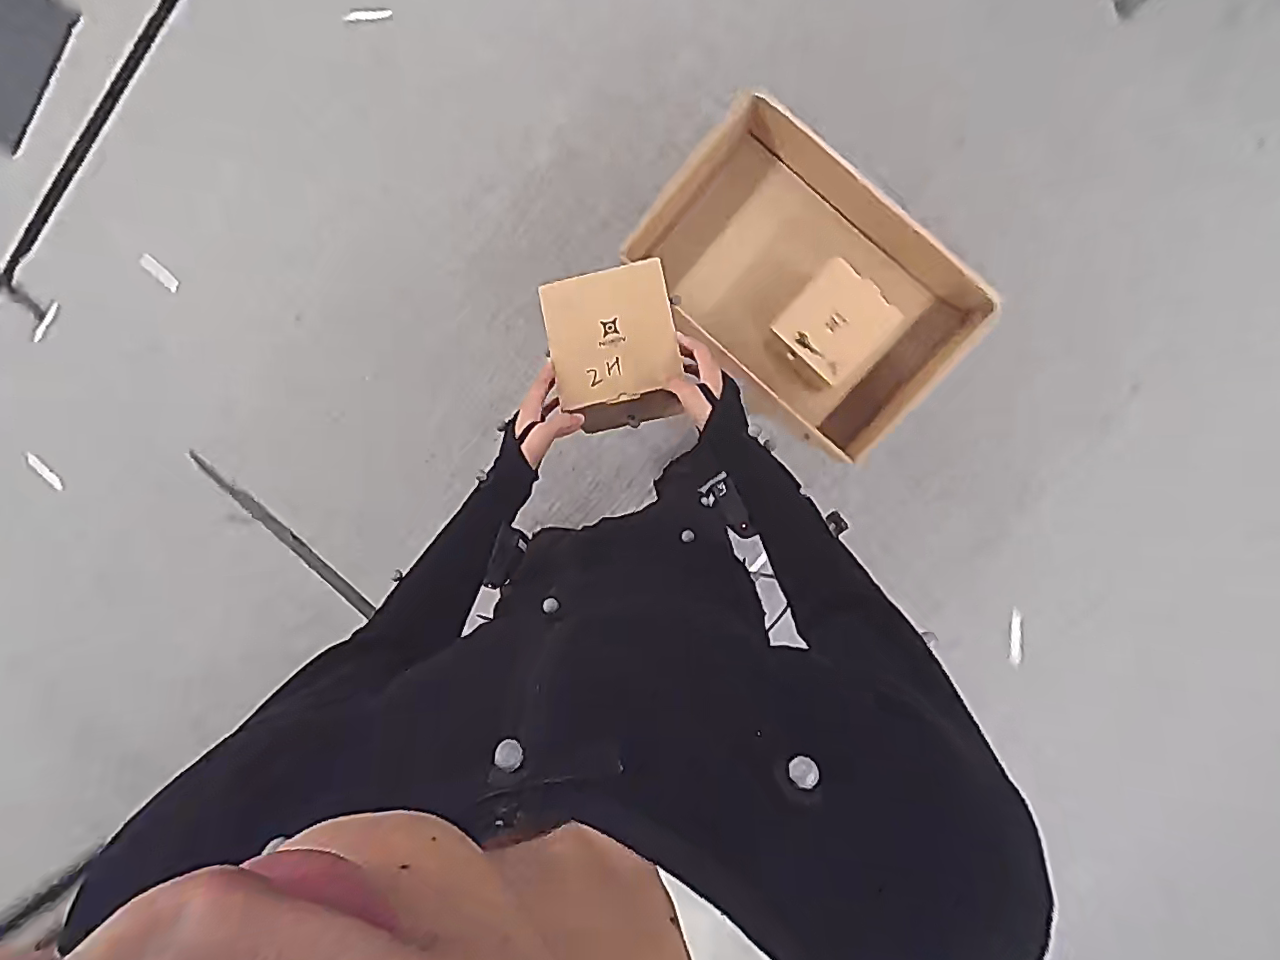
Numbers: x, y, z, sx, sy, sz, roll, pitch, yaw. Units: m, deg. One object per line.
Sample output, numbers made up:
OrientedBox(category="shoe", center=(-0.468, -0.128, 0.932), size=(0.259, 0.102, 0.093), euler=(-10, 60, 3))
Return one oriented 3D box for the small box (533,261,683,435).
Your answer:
OrientedBox(category="small box", center=(-0.037, -0.175, 0.769), size=(0.168, 0.176, 0.179), euler=(-13, 85, 5))
